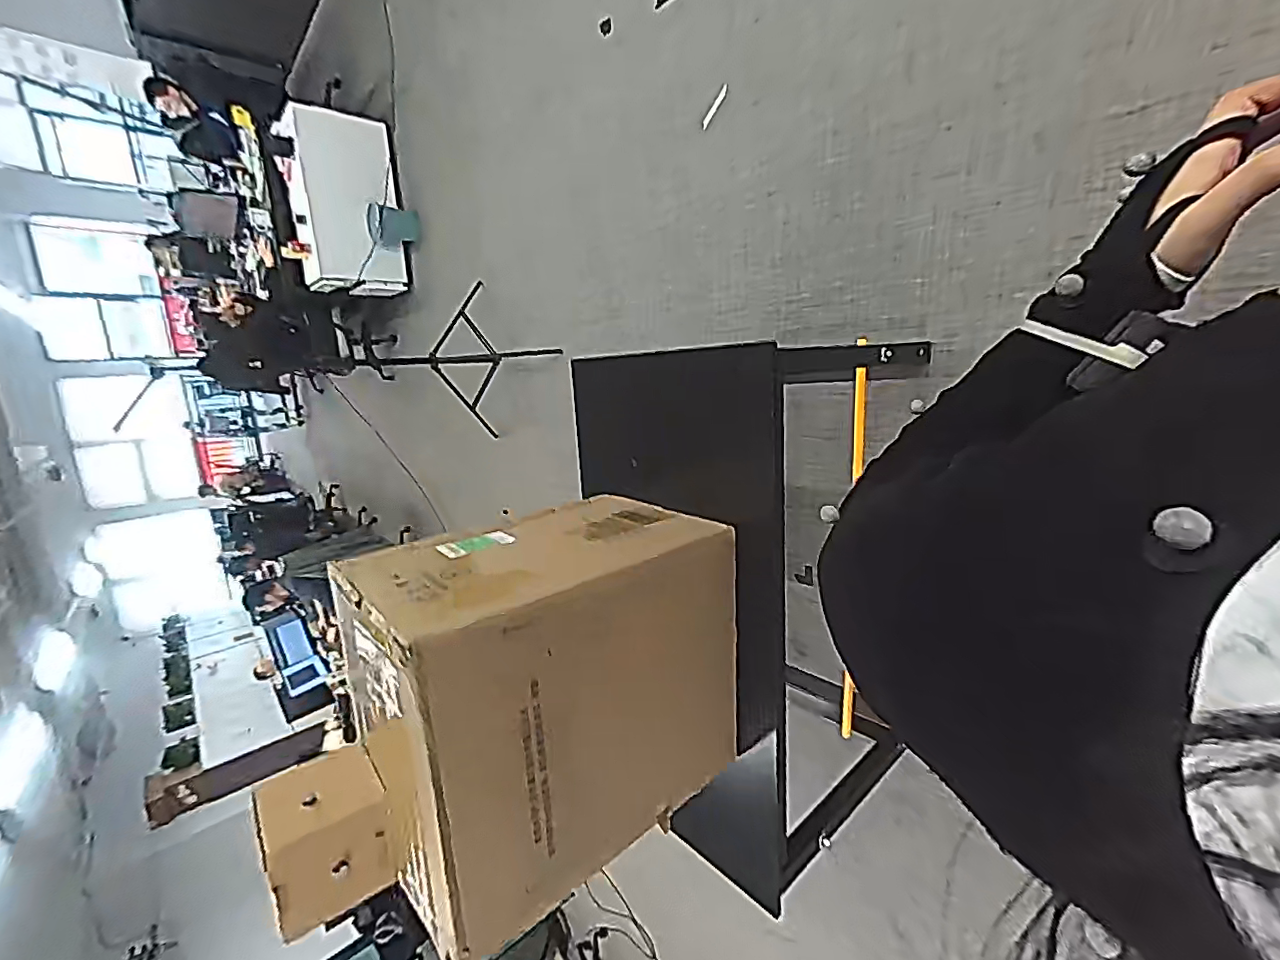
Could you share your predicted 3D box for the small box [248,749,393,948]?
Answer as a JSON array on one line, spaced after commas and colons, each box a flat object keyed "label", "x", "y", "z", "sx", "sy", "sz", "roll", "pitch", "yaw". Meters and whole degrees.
[{"label": "small box", "x": -0.515, "y": 0.580, "z": 0.883, "sx": 0.179, "sy": 0.176, "sz": 0.168, "roll": 13, "pitch": 109, "yaw": 48}]
